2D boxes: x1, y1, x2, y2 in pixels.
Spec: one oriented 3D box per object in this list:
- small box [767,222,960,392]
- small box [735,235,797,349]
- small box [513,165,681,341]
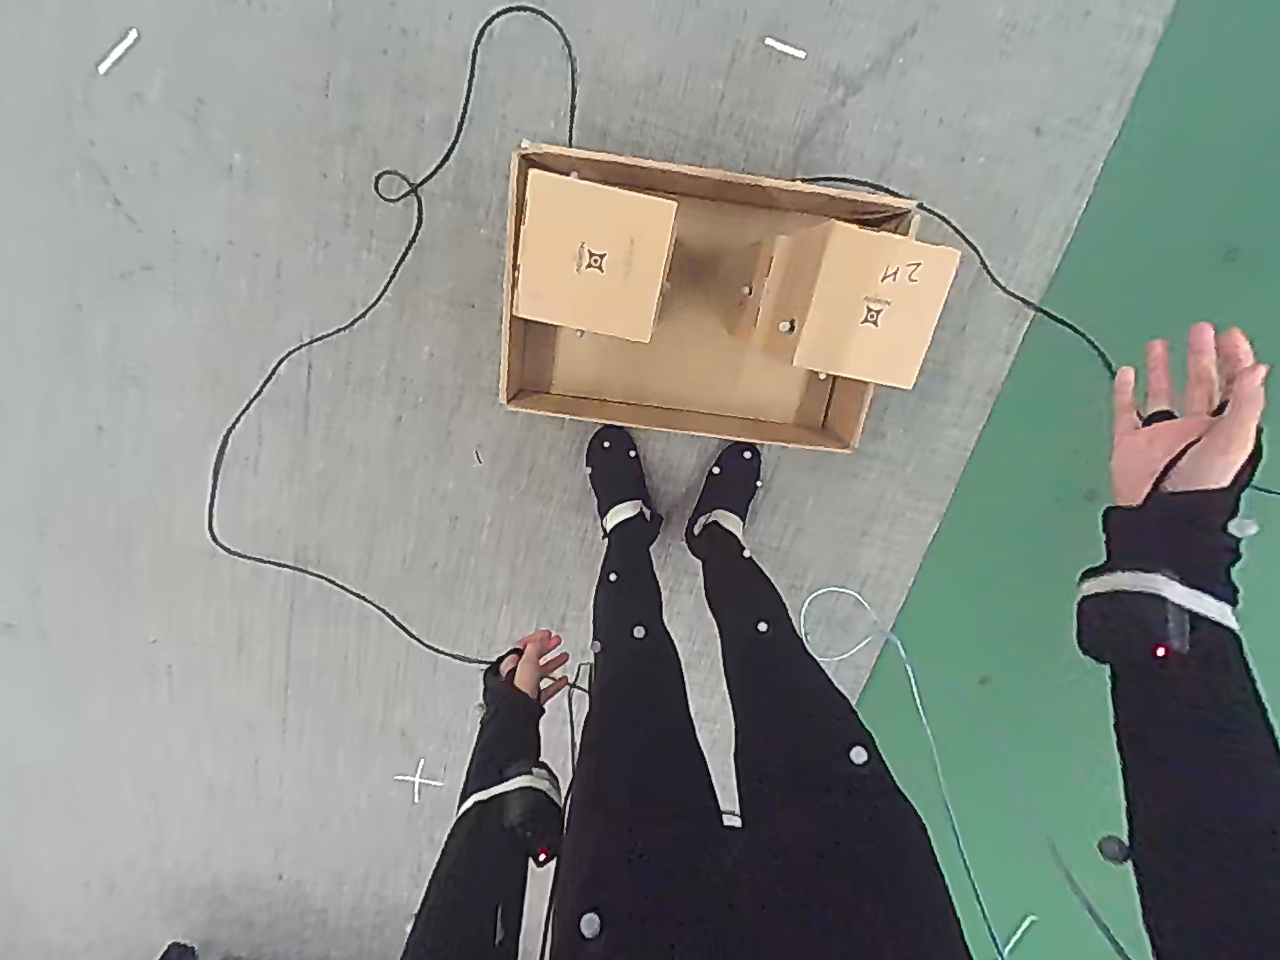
[{"bbox_3d":[0.288,-0.236,0.747,0.168,0.176,0.179,11,108,-6],"label":"small box"},{"bbox_3d":[0.270,-0.294,0.900,0.179,0.176,0.168,11,109,-5],"label":"small box"},{"bbox_3d":[-0.056,-0.293,0.720,0.179,0.176,0.168,11,110,-6],"label":"small box"}]
